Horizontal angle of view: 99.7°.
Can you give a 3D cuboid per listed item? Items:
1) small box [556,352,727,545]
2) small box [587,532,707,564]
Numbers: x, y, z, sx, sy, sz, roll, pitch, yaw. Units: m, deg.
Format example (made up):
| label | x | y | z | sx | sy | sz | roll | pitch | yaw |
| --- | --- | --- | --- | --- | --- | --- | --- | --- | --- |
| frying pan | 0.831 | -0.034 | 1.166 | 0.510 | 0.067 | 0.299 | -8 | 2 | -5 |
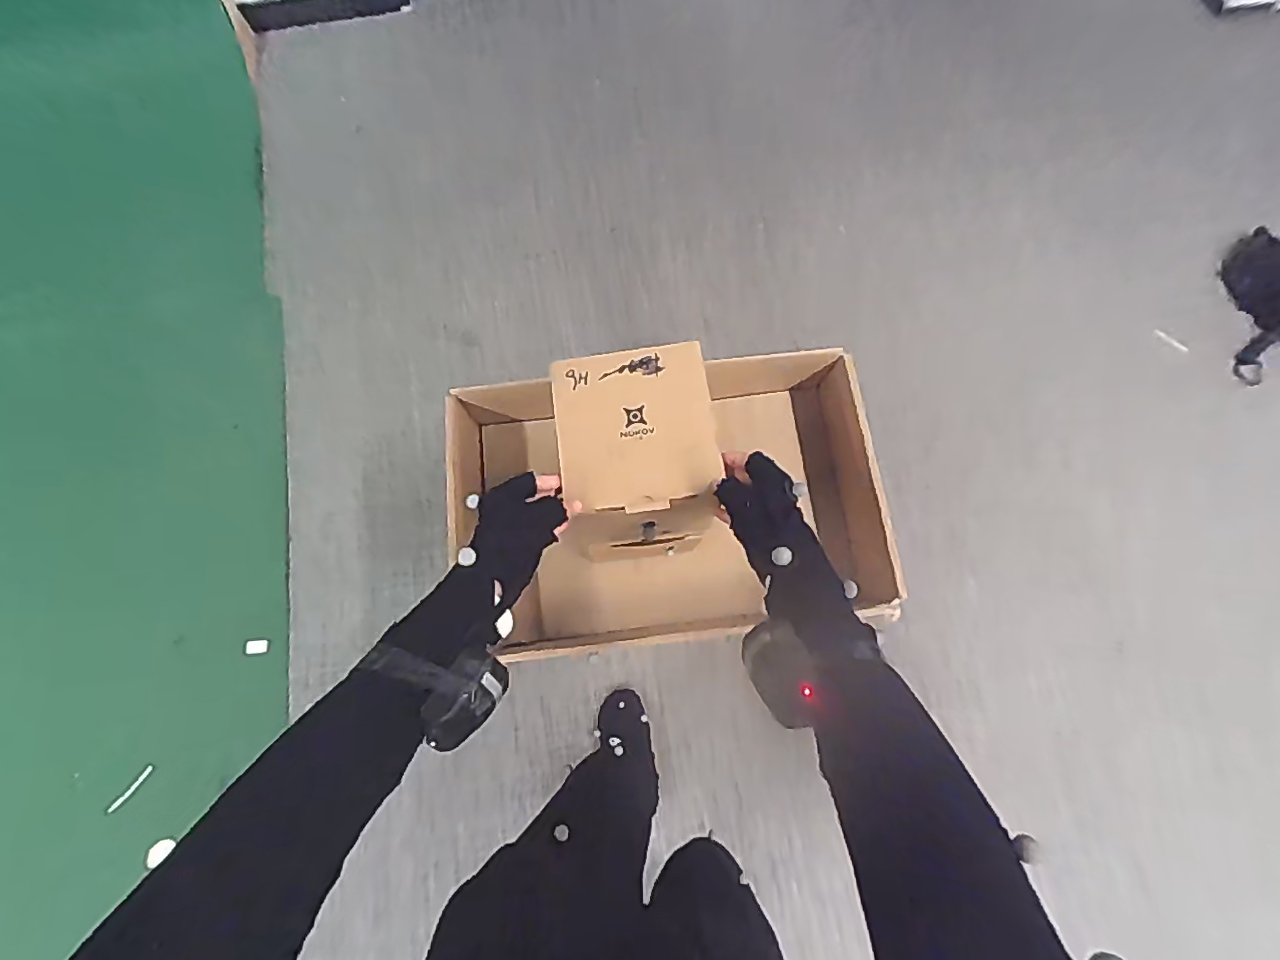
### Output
| label | x | y | z | sx | sy | sz | roll | pitch | yaw |
| --- | --- | --- | --- | --- | --- | --- | --- | --- | --- |
| small box | 0.002 | -0.024 | 0.642 | 0.168 | 0.176 | 0.179 | -8 | 73 | 0 |
| small box | 0.001 | 0.030 | 0.827 | 0.168 | 0.176 | 0.179 | -7 | 74 | -4 |
